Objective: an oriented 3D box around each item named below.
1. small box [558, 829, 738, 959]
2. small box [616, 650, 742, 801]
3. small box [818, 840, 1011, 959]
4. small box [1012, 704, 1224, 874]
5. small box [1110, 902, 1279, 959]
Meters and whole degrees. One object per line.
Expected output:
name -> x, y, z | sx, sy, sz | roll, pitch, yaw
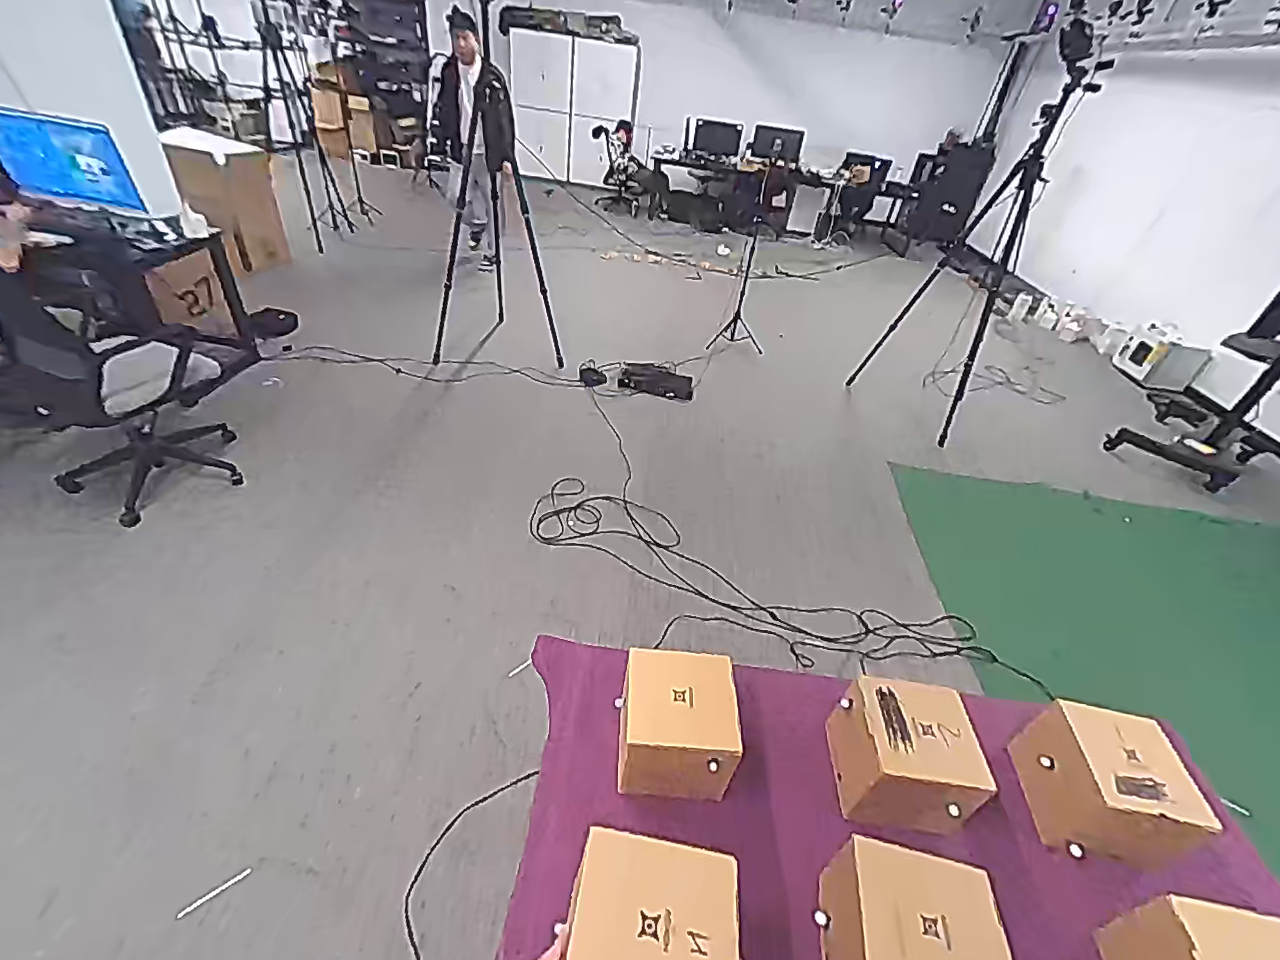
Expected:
small box -> 0.000, 0.521, 0.588 | 0.179, 0.176, 0.168 | 13, 35, 1
small box -> 0.056, 0.406, 0.892 | 0.179, 0.176, 0.168 | 7, 37, -4
small box -> 0.341, 0.603, 0.688 | 0.179, 0.176, 0.168 | 12, 36, 7
small box -> 0.763, 0.510, 0.891 | 0.168, 0.176, 0.179 | 12, 36, 5
small box -> 0.745, 0.671, 0.673 | 0.179, 0.176, 0.168 | 10, 36, 4
